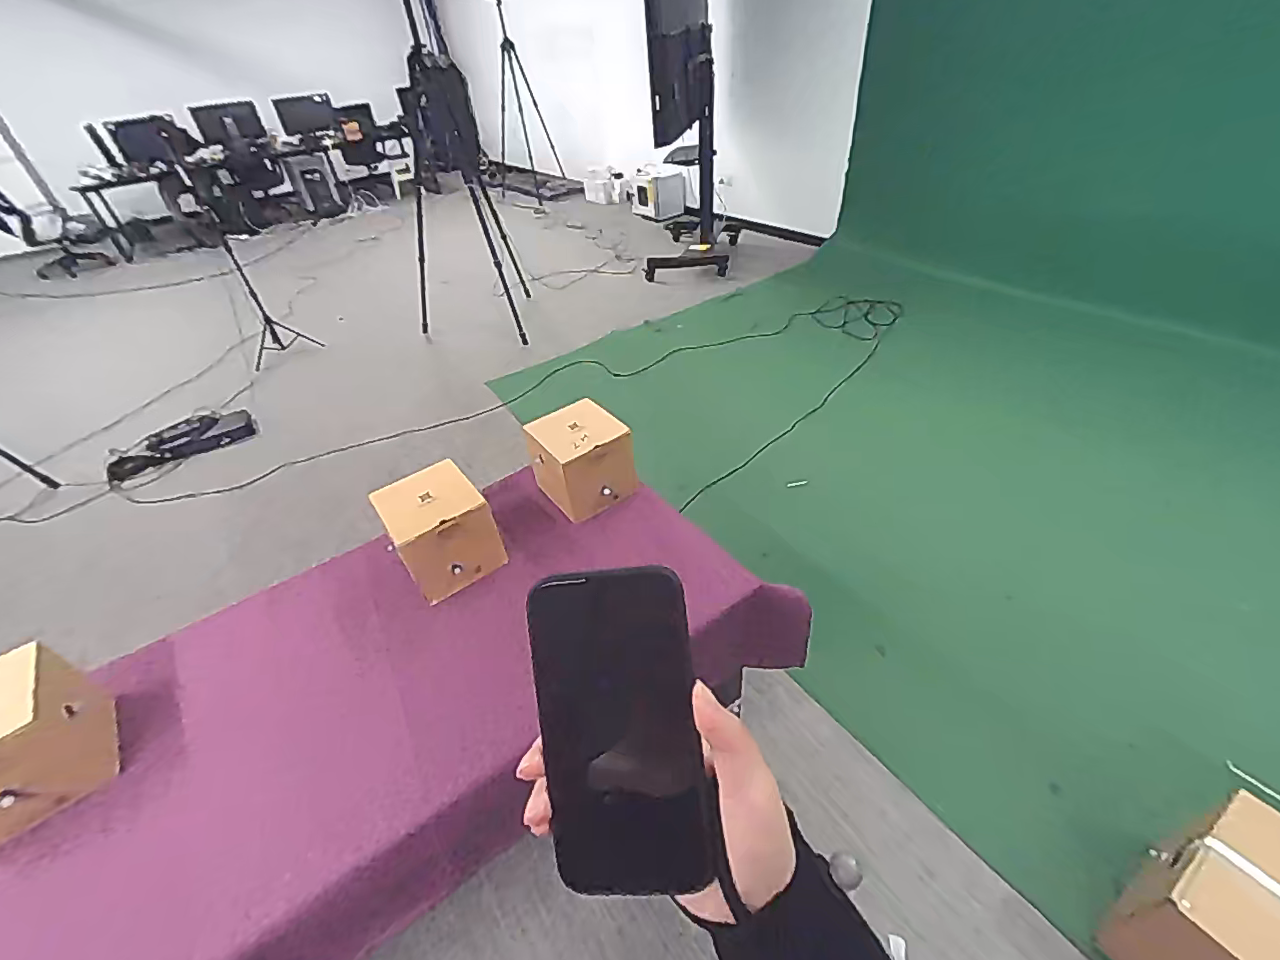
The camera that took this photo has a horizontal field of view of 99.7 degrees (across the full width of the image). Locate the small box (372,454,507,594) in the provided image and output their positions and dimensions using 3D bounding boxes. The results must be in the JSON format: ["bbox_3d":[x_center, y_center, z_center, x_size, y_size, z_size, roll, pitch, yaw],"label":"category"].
[{"bbox_3d":[-0.381,0.084,1.041,0.168,0.176,0.179,-30,47,-25],"label":"small box"}]

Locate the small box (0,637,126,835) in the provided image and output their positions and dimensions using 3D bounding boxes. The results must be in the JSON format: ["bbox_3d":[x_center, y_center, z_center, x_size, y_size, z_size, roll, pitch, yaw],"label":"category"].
[{"bbox_3d":[-0.890,0.371,0.774,0.168,0.176,0.179,-32,47,-27],"label":"small box"}]

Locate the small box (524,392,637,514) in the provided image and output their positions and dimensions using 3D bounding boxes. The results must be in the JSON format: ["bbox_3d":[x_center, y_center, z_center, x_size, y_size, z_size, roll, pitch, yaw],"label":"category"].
[{"bbox_3d":[-0.125,-0.058,1.165,0.168,0.176,0.179,-29,46,-23],"label":"small box"}]
